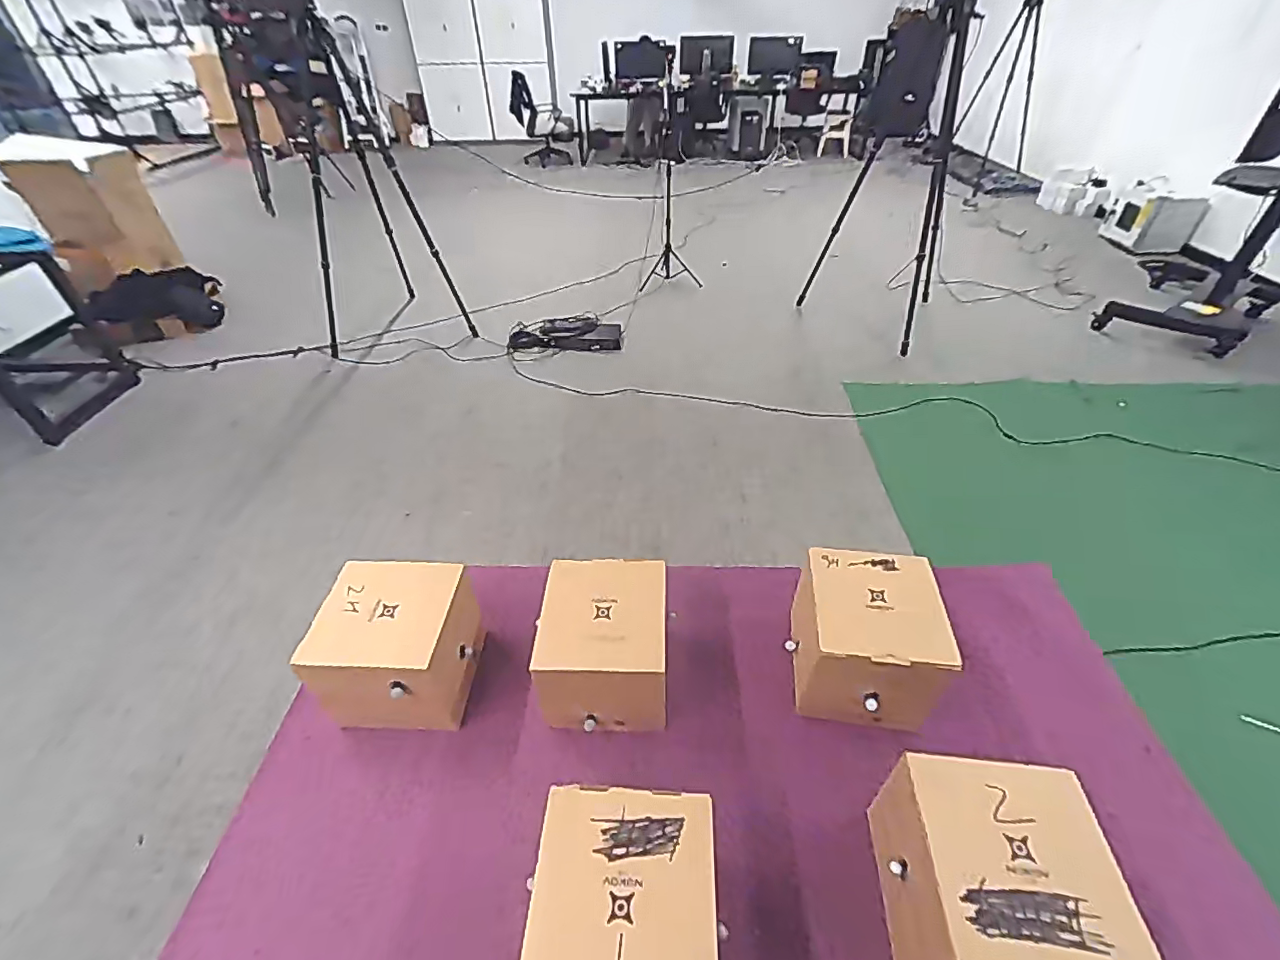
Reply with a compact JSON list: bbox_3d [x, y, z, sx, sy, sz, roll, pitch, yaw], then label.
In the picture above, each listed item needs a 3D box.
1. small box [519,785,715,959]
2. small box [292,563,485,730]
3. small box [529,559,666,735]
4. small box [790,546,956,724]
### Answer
[{"bbox_3d":[-0.014,0.429,0.532,0.168,0.176,0.179,0,41,4],"label":"small box"},{"bbox_3d":[-0.335,0.238,0.770,0.179,0.176,0.168,0,40,3],"label":"small box"},{"bbox_3d":[-0.048,0.233,0.764,0.168,0.176,0.179,0,41,4],"label":"small box"},{"bbox_3d":[0.309,0.219,0.760,0.168,0.176,0.179,5,42,7],"label":"small box"}]
